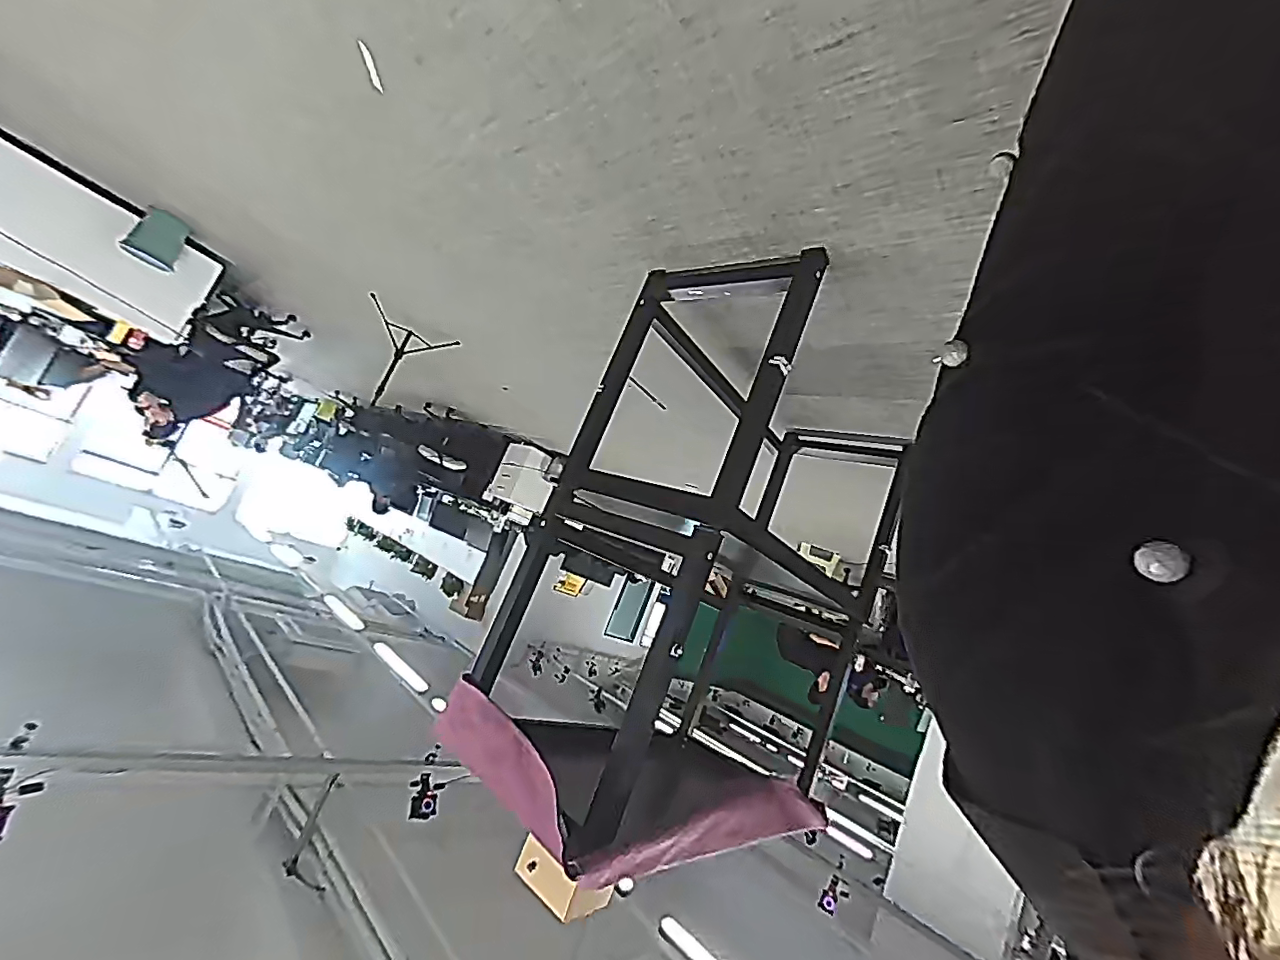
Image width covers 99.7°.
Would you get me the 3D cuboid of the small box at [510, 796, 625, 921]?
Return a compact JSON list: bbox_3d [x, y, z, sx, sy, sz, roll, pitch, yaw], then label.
[{"bbox_3d":[-0.167,0.880,1.281,0.179,0.176,0.168,14,168,39],"label":"small box"}]
